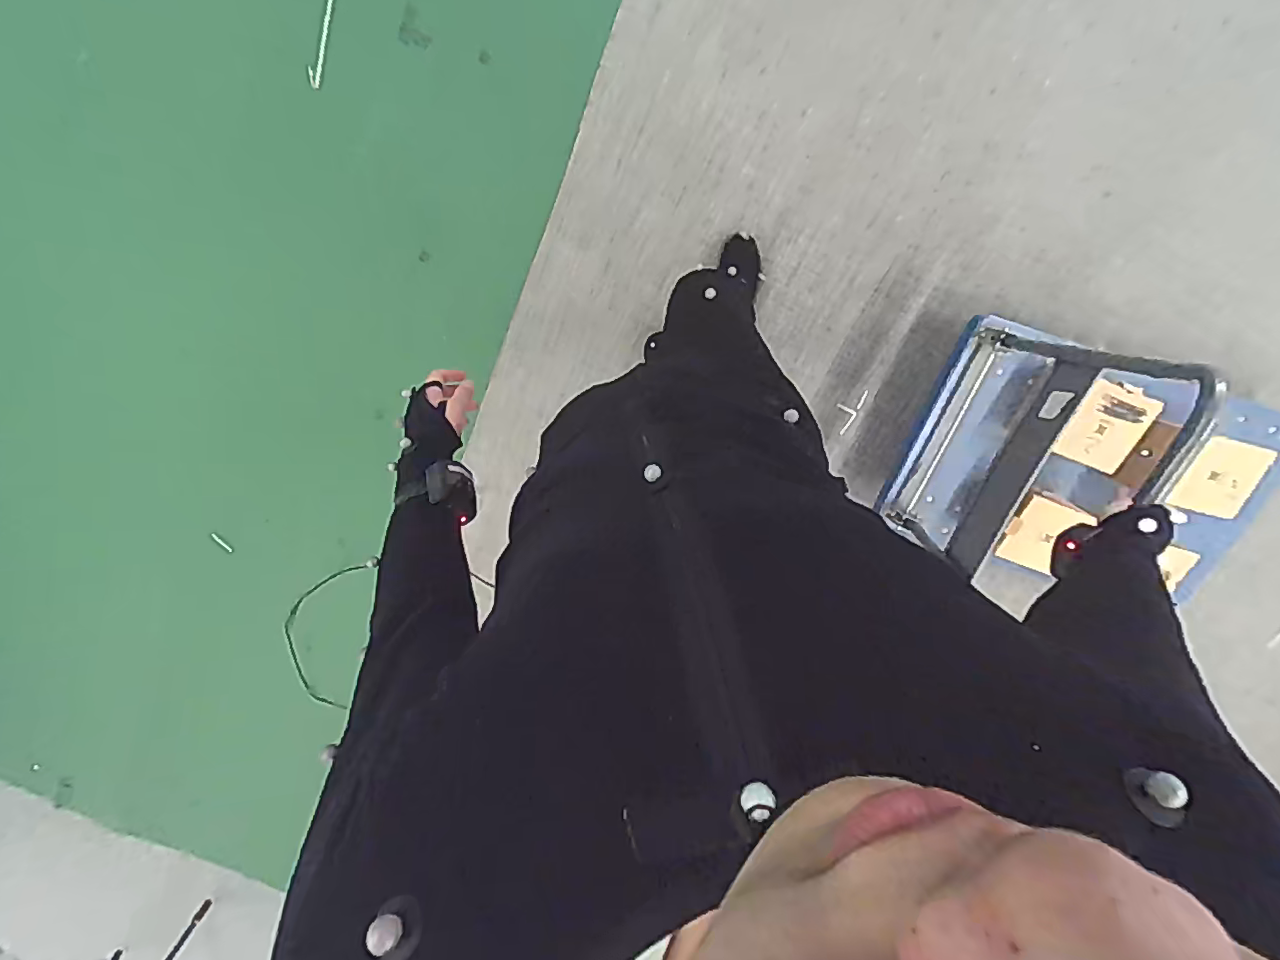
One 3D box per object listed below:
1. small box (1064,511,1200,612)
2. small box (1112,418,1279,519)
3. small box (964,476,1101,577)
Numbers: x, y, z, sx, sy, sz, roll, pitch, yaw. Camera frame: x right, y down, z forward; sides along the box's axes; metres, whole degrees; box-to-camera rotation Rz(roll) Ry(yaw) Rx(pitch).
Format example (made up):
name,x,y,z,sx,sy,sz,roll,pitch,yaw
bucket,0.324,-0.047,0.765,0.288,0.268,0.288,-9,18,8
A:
name,x,y,z,sx,sy,sz,roll,pitch,yaw
small box,1.187,0.193,1.338,0.179,0.176,0.168,17,110,0
small box,1.263,-0.034,1.249,0.179,0.176,0.168,15,111,0
small box,0.953,0.107,1.332,0.179,0.176,0.168,20,110,-1
